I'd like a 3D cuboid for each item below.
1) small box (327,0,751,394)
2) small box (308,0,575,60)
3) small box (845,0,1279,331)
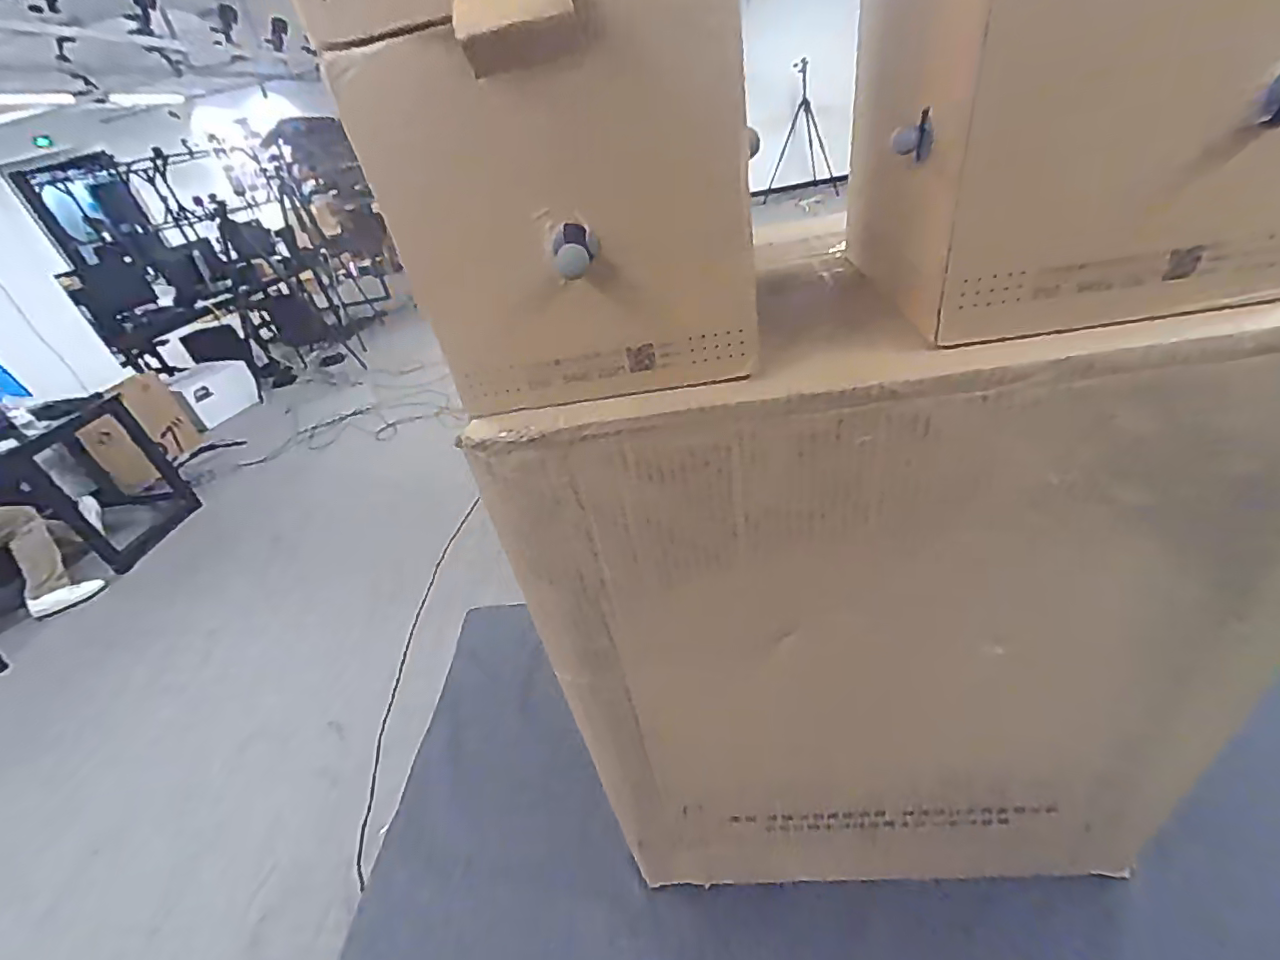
[{"bbox_3d":[-0.029,-0.161,0.317,0.168,0.176,0.179,-6,38,8],"label":"small box"},{"bbox_3d":[-0.056,-0.295,0.224,0.179,0.176,0.168,-7,36,9],"label":"small box"},{"bbox_3d":[0.216,-0.185,0.284,0.168,0.176,0.179,-5,36,7],"label":"small box"}]
